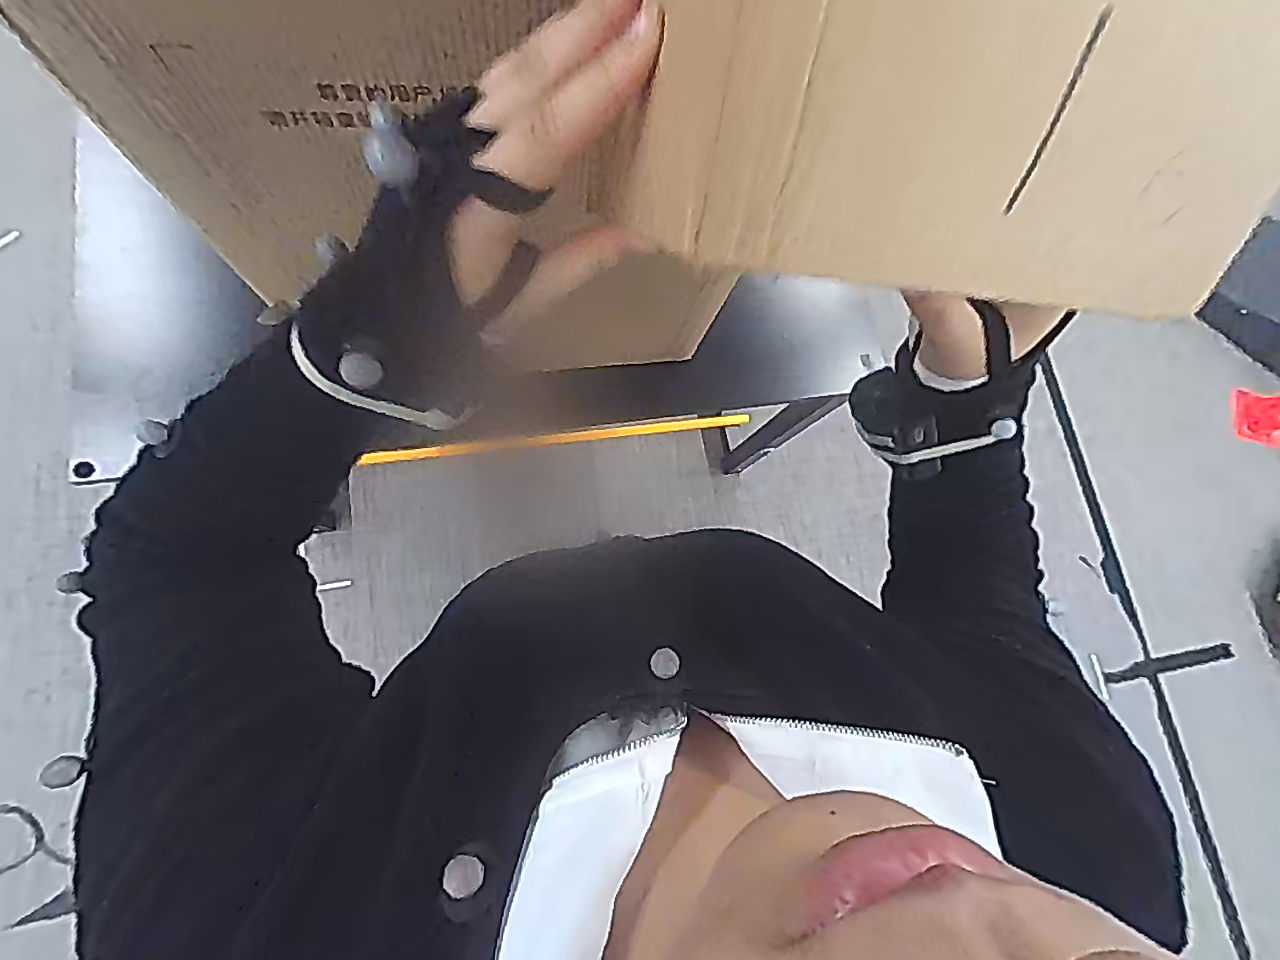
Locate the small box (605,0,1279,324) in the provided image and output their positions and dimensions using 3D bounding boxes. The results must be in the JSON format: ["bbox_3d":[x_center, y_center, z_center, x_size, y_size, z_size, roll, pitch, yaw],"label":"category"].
[{"bbox_3d":[0.087,-0.165,0.182,0.168,0.176,0.179,1,119,-14],"label":"small box"}]
